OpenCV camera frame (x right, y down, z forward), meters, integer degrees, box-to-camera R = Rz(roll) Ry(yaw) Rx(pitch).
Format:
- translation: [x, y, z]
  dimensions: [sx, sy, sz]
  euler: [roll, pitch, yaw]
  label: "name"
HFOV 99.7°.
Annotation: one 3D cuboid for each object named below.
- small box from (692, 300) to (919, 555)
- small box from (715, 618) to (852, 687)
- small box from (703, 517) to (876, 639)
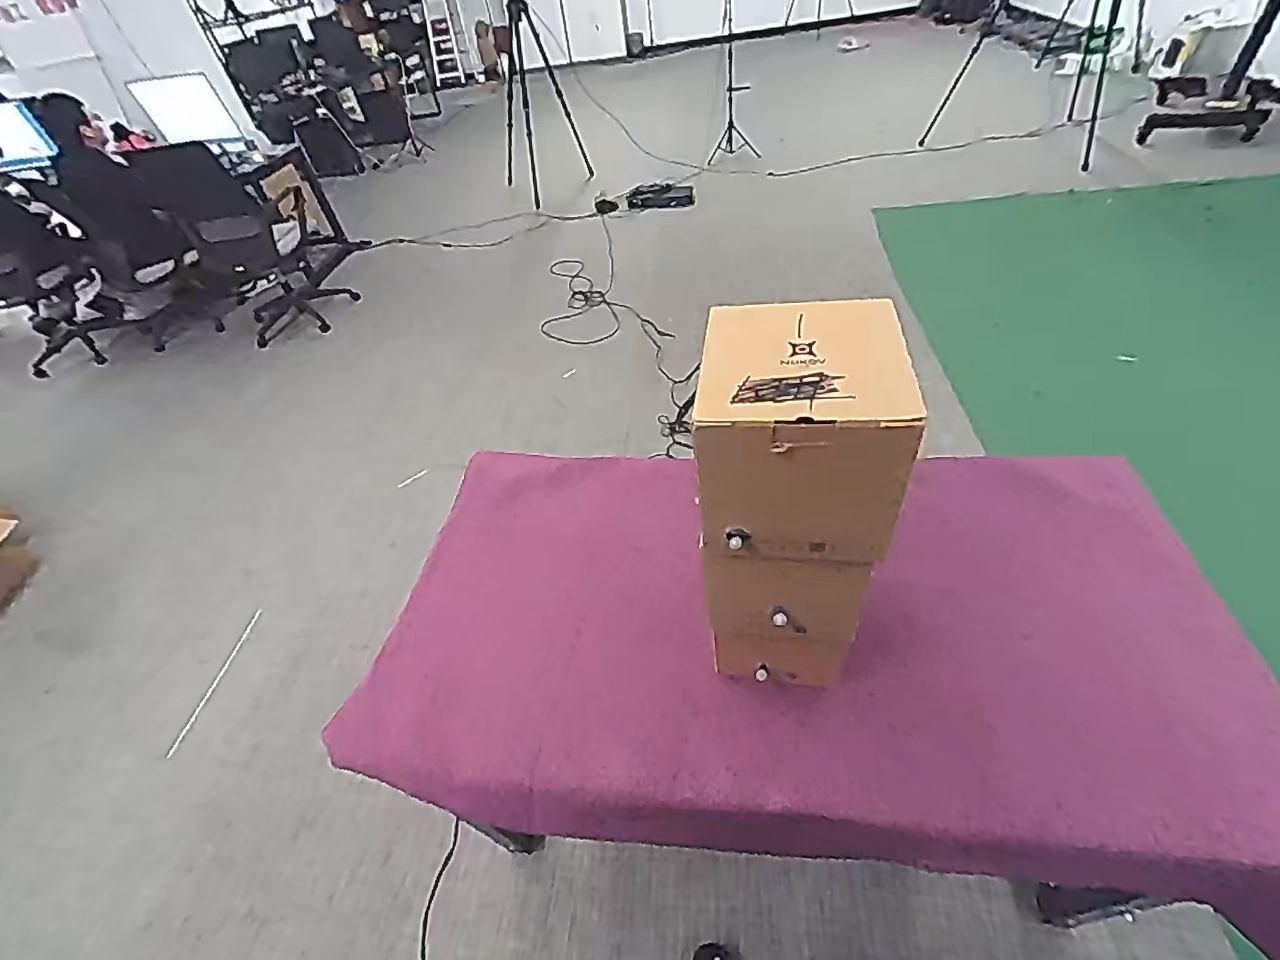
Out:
- translation: [0.146, -0.047, 0.509]
  dimensions: [0.168, 0.176, 0.179]
  euler: [2, 46, 13]
  label: "small box"
- translation: [0.195, 0.163, 0.758]
  dimensions: [0.168, 0.176, 0.179]
  euler: [2, 47, 14]
  label: "small box"
- translation: [0.166, 0.060, 0.633]
  dimensions: [0.168, 0.176, 0.179]
  euler: [1, 46, 13]
  label: "small box"
